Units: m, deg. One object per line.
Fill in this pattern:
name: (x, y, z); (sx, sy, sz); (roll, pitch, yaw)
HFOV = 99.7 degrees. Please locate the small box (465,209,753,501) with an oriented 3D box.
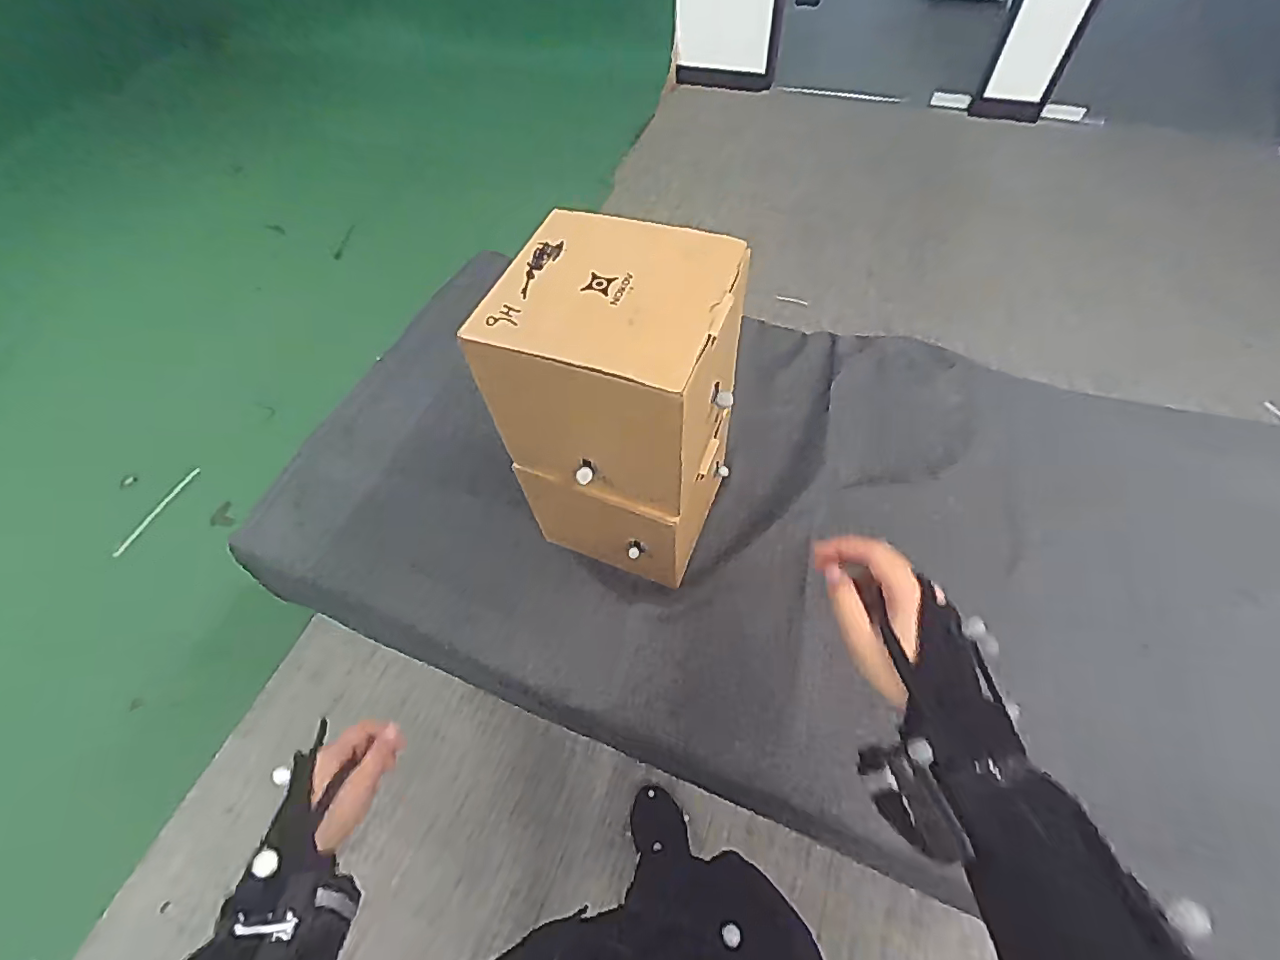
small box: (-0.016, -0.102, 0.479); (0.179, 0.176, 0.168); (17, 60, 13)

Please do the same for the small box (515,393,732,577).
small box: (-0.009, -0.009, 0.614); (0.179, 0.176, 0.168); (18, 60, 14)
